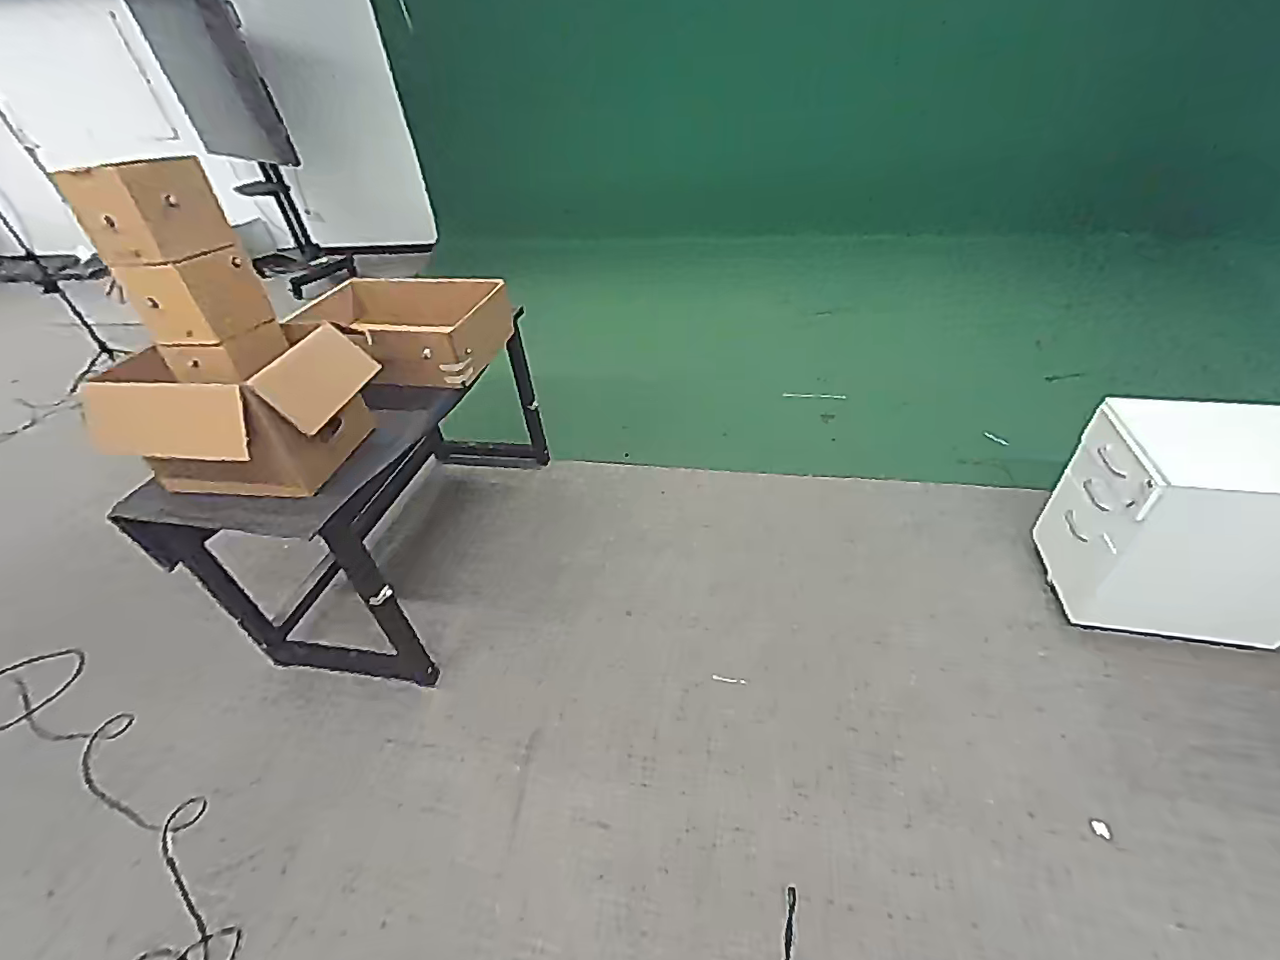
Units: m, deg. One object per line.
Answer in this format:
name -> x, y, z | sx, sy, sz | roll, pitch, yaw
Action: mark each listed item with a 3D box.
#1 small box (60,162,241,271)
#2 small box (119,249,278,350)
small box -> -0.964, -0.525, 1.086 | 0.168, 0.176, 0.179 | 4, 36, 14
small box -> -0.946, -0.391, 1.179 | 0.168, 0.176, 0.179 | 3, 35, 13
